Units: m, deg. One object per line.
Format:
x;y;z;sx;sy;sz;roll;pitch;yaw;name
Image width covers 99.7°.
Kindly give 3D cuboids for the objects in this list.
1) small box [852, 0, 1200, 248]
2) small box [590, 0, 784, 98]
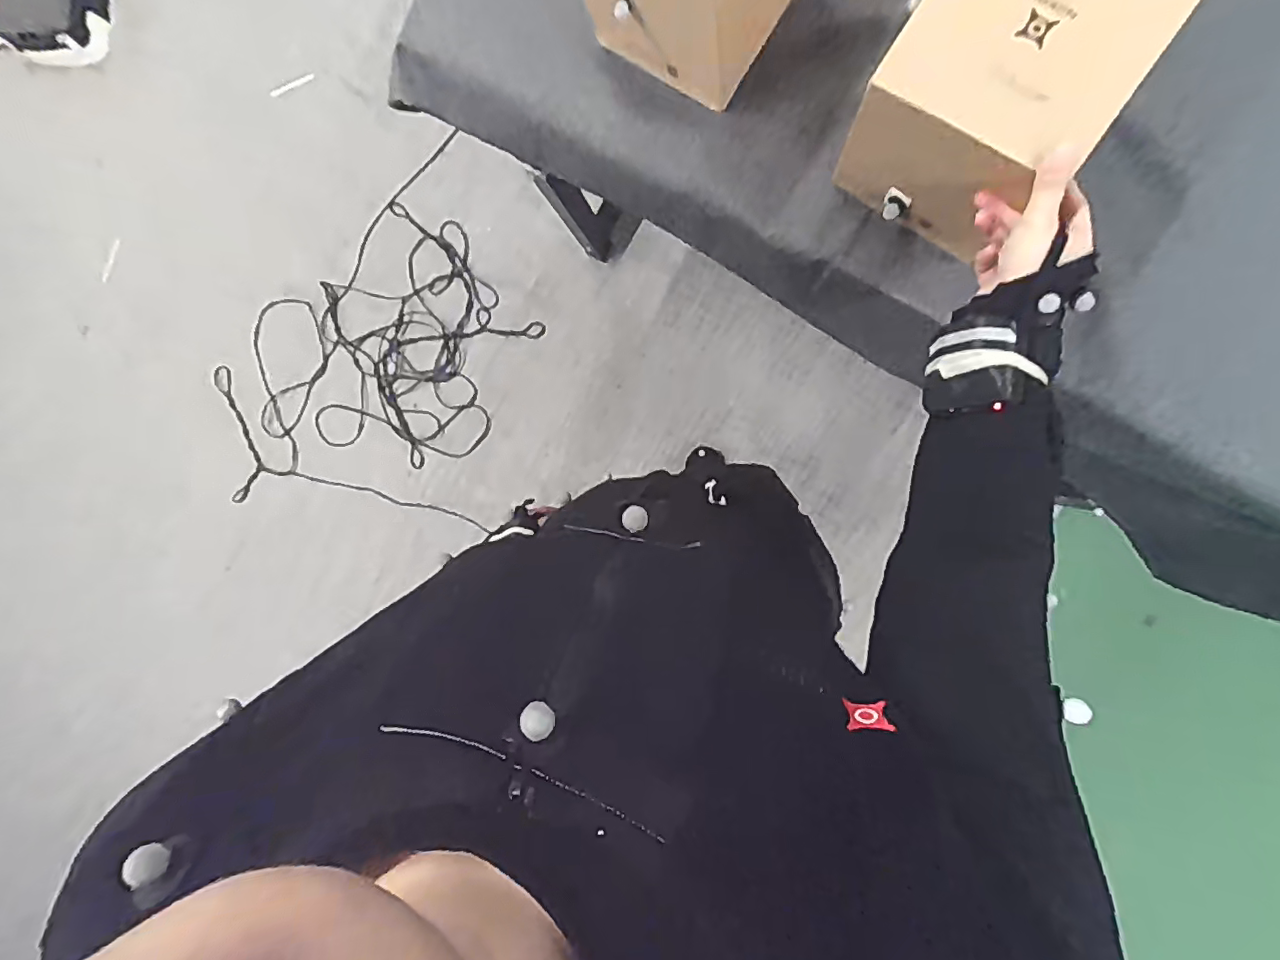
0.306;-0.337;0.465;0.168;0.176;0.179;32;102;8;small box
0.050;-0.508;0.495;0.168;0.176;0.179;34;97;6;small box
